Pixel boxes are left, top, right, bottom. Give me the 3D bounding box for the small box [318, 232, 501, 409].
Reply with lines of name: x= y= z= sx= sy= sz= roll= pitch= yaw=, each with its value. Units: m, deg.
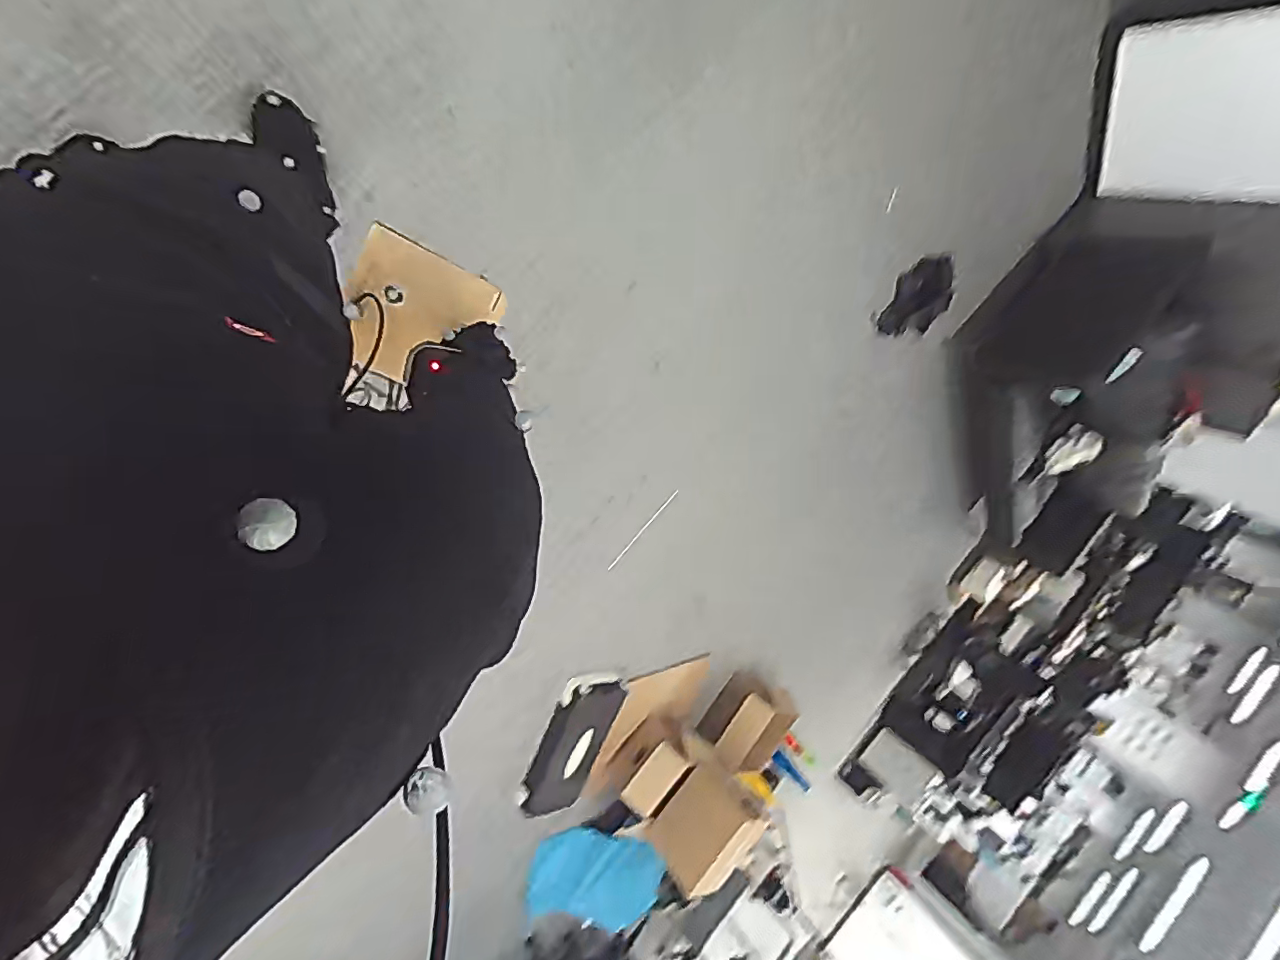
small box: x=-0.310 y=-0.218 z=0.757 sx=0.176 sy=0.179 sz=0.168 roll=27 pitch=96 yaw=-18
